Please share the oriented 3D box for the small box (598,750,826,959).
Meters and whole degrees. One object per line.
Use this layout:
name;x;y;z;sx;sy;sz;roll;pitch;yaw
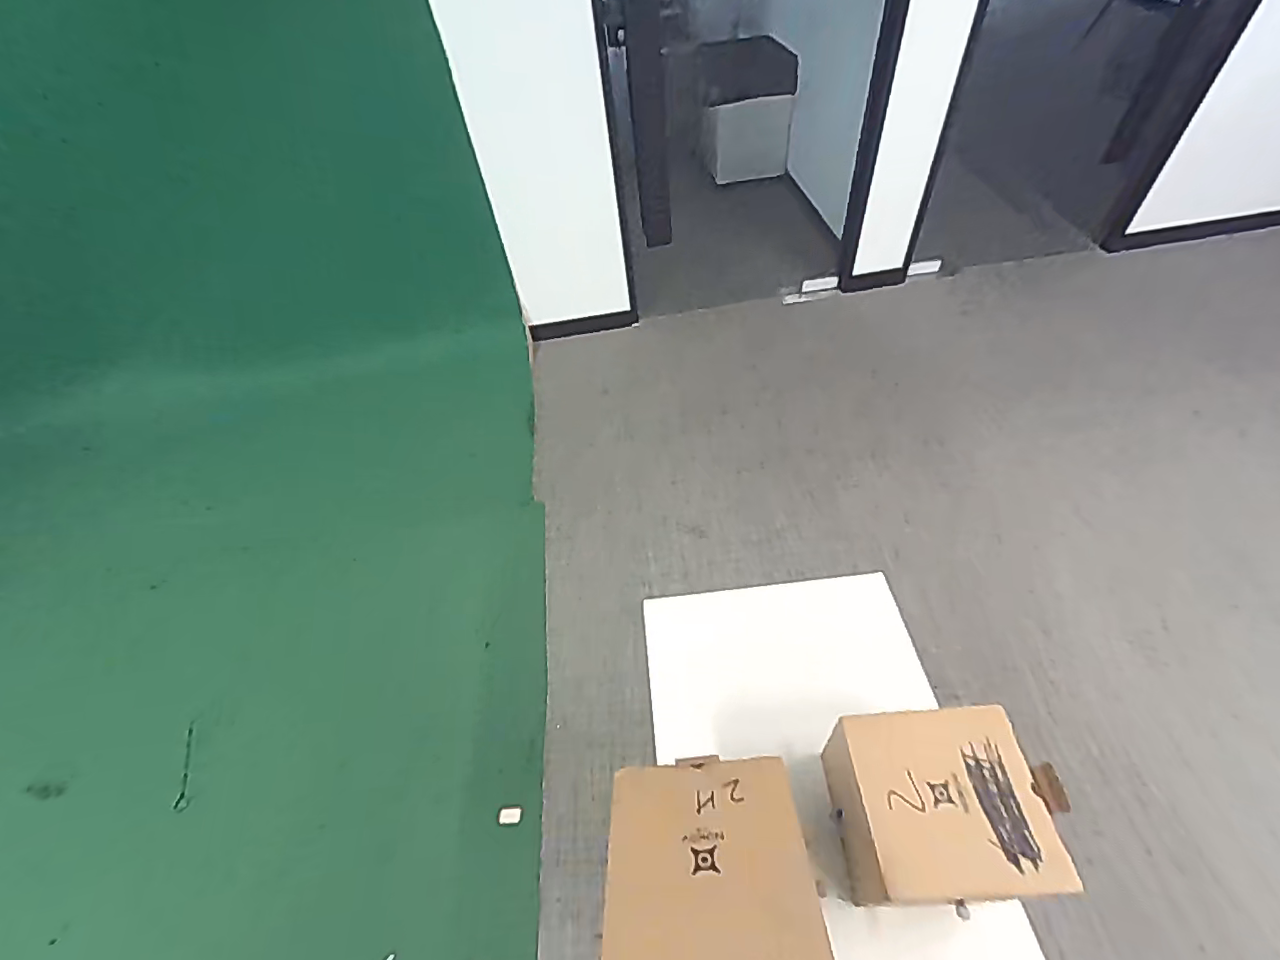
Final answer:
small box;0.064;0.380;0.485;0.168;0.176;0.179;-6;22;4
